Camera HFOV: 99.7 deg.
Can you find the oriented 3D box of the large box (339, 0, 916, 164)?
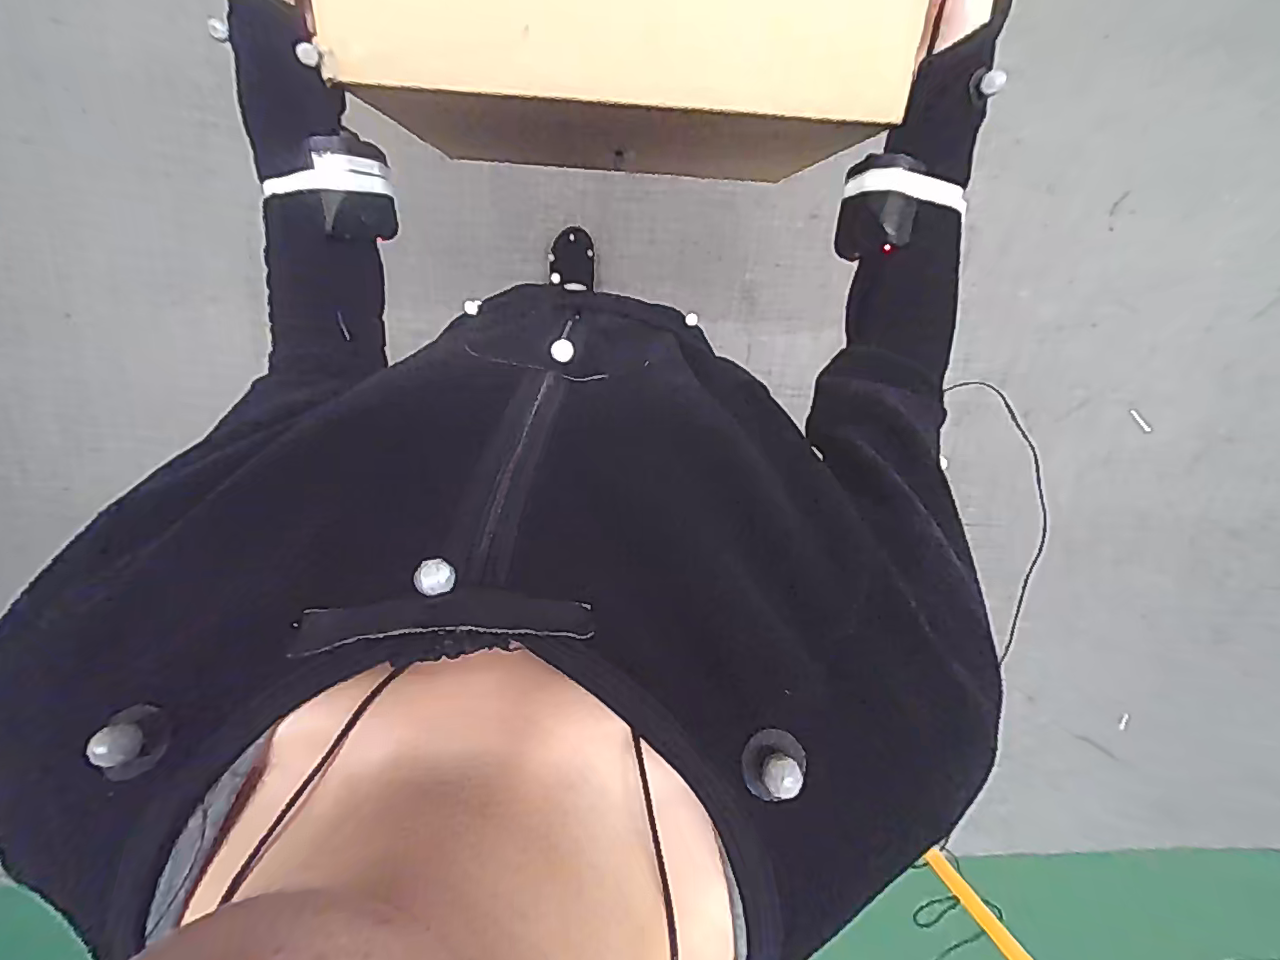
[{"bbox_3d":[-0.005,-0.476,0.470,0.408,0.320,0.320,2,112,-3],"label":"large box"}]
